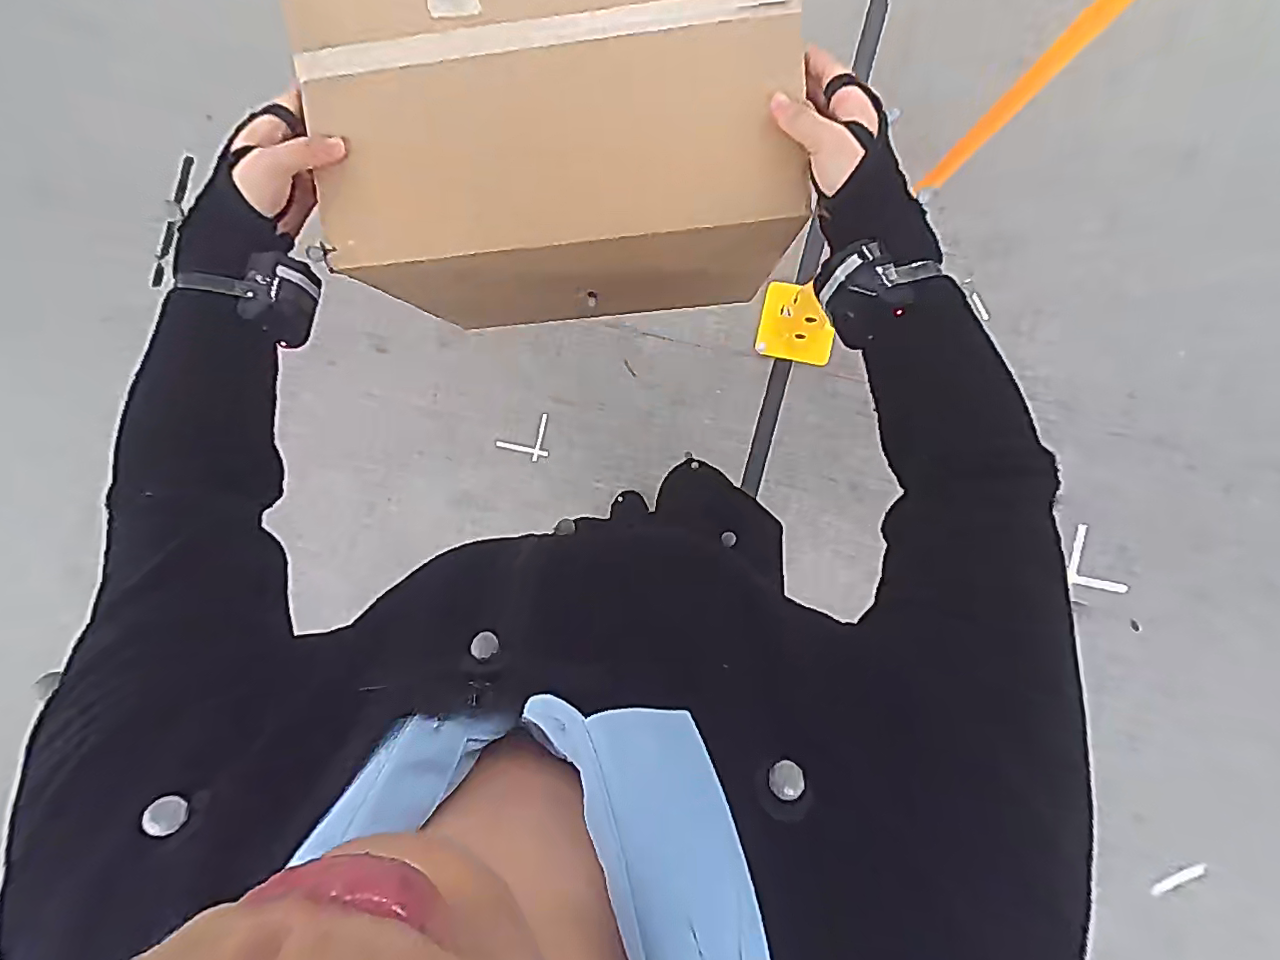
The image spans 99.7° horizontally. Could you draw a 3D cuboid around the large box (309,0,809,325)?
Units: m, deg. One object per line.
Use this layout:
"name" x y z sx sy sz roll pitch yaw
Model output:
"large box" -0.062 -0.370 0.590 0.408 0.320 0.320 -5 95 4
